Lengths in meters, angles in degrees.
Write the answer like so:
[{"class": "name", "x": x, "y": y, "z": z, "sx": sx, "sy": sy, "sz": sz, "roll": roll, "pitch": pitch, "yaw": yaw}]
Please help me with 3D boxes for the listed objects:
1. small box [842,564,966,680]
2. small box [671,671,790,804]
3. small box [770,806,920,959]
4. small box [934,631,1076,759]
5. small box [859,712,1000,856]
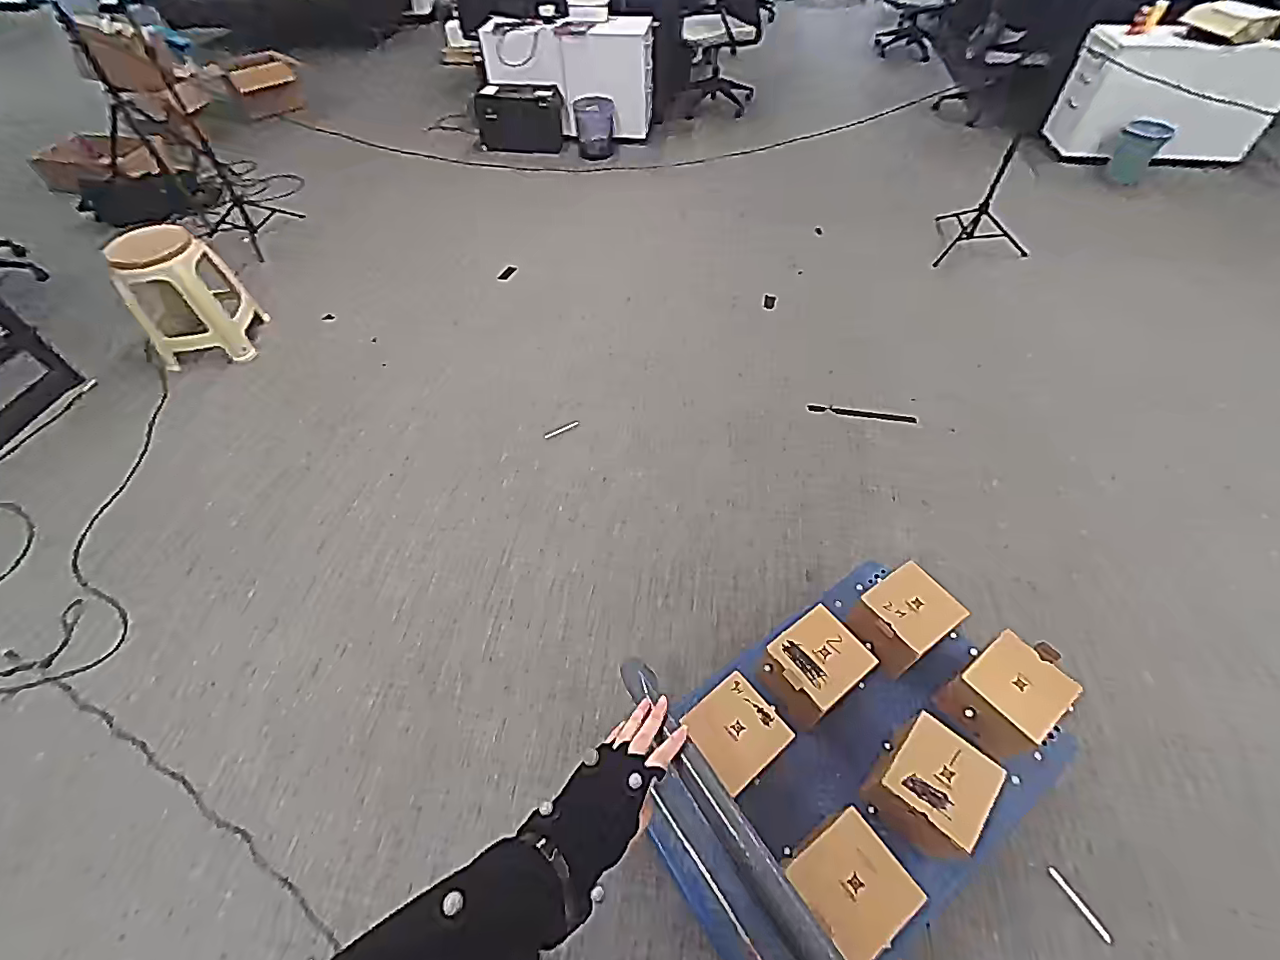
[{"class": "small box", "x": 0.610, "y": 0.336, "z": 1.275, "sx": 0.179, "sy": 0.176, "sz": 0.168, "roll": -28, "pitch": 56, "yaw": -19}, {"class": "small box", "x": 0.180, "y": 0.538, "z": 1.122, "sx": 0.179, "sy": 0.176, "sz": 0.168, "roll": -32, "pitch": 59, "yaw": -22}, {"class": "small box", "x": 0.353, "y": 0.730, "z": 0.973, "sx": 0.179, "sy": 0.176, "sz": 0.168, "roll": -28, "pitch": 57, "yaw": -20}, {"class": "small box", "x": 0.773, "y": 0.469, "z": 1.170, "sx": 0.179, "sy": 0.176, "sz": 0.168, "roll": -31, "pitch": 57, "yaw": -22}, {"class": "small box", "x": 0.558, "y": 0.603, "z": 1.067, "sx": 0.168, "sy": 0.176, "sz": 0.179, "roll": 36, "pitch": 60, "yaw": 26}]
